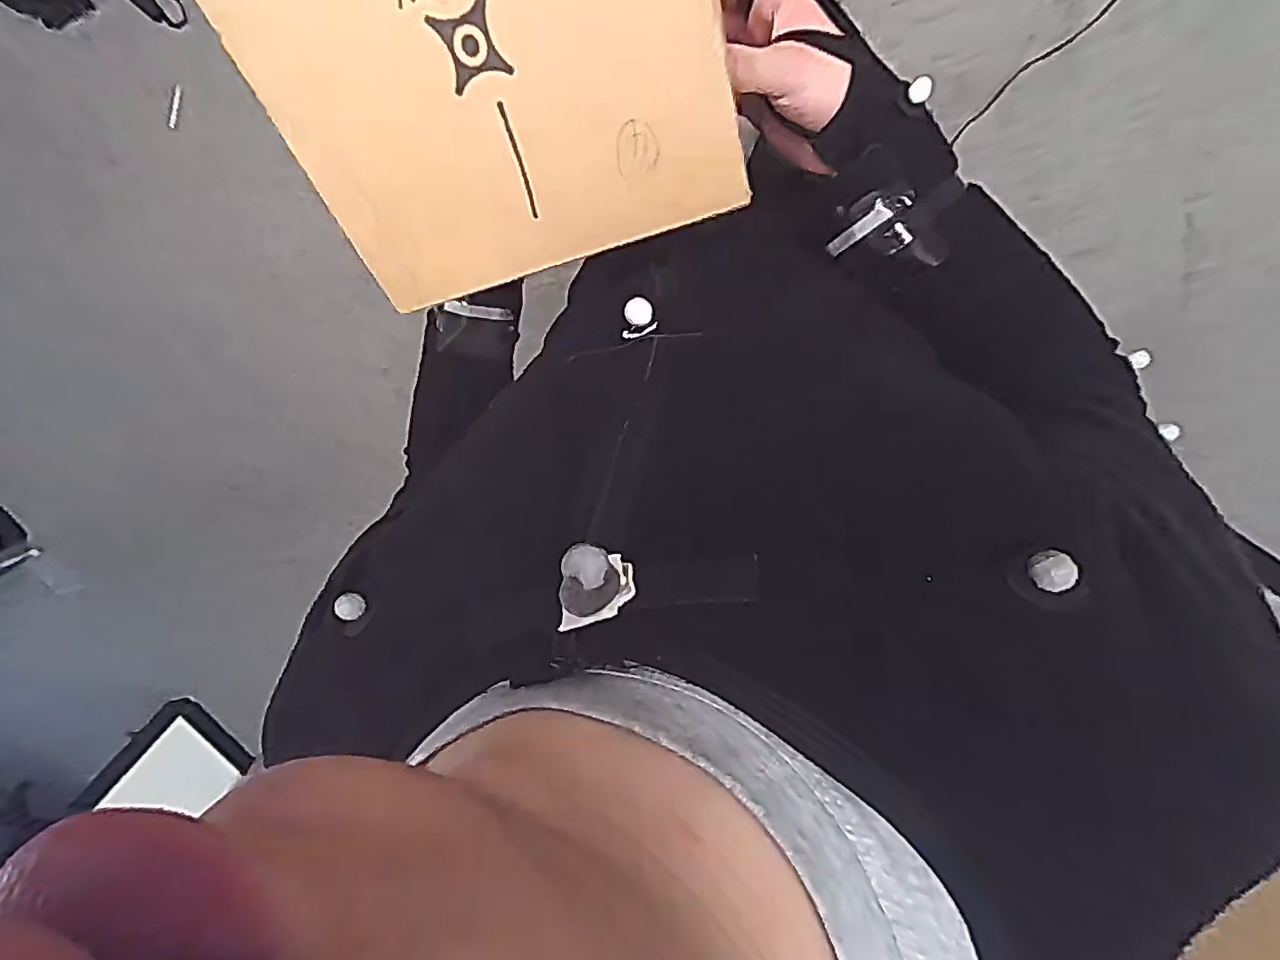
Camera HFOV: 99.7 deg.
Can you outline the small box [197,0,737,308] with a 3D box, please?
[{"bbox_3d":[-0.062,-0.213,0.244,0.168,0.176,0.179,-13,131,13],"label":"small box"}]
